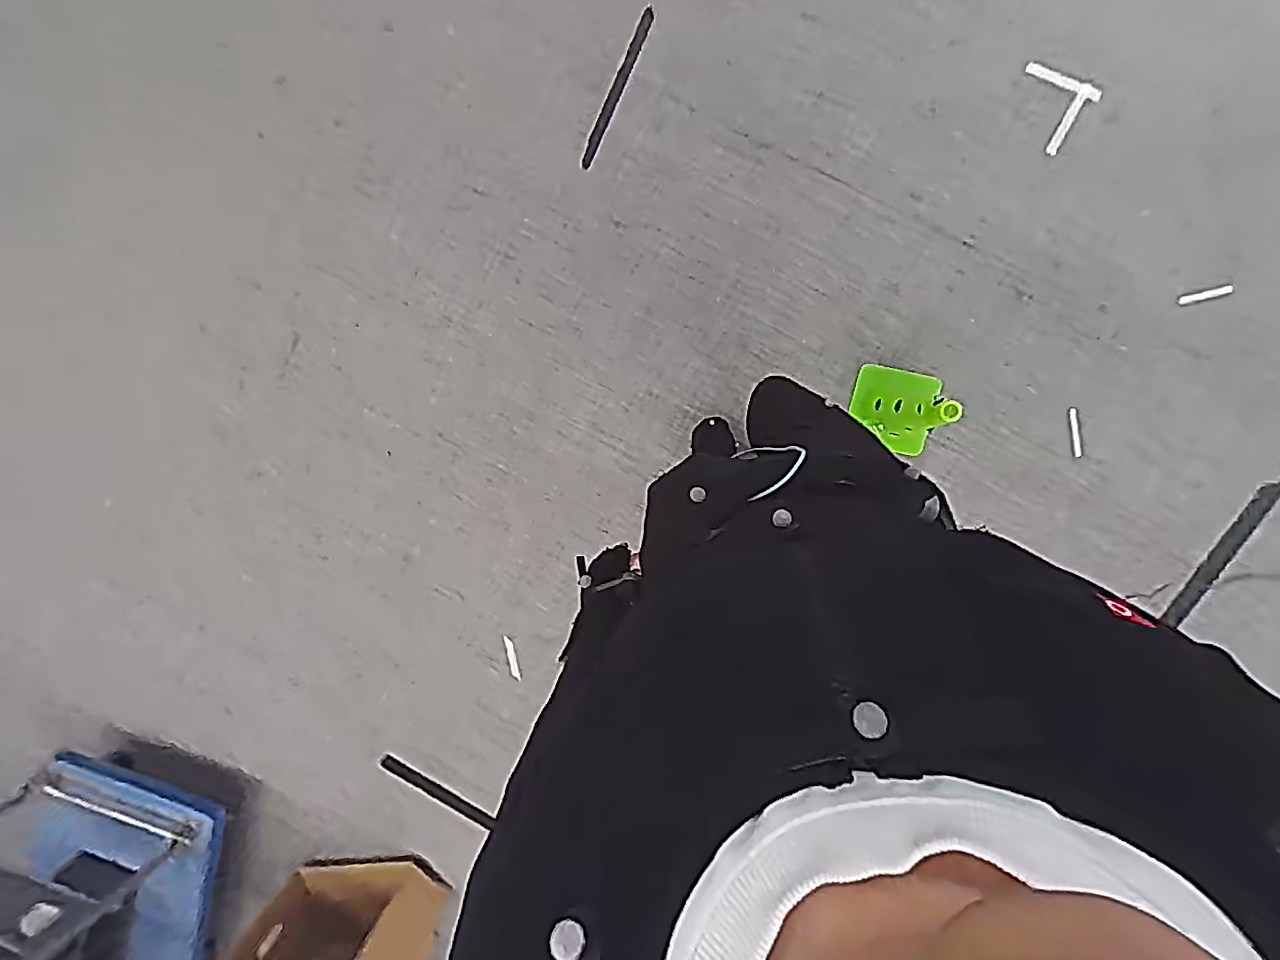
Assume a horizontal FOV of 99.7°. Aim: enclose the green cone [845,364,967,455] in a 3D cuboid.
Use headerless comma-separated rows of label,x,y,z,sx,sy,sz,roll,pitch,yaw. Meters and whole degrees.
green cone,0.607,-0.155,1.173,0.200,0.368,0.202,13,98,5
